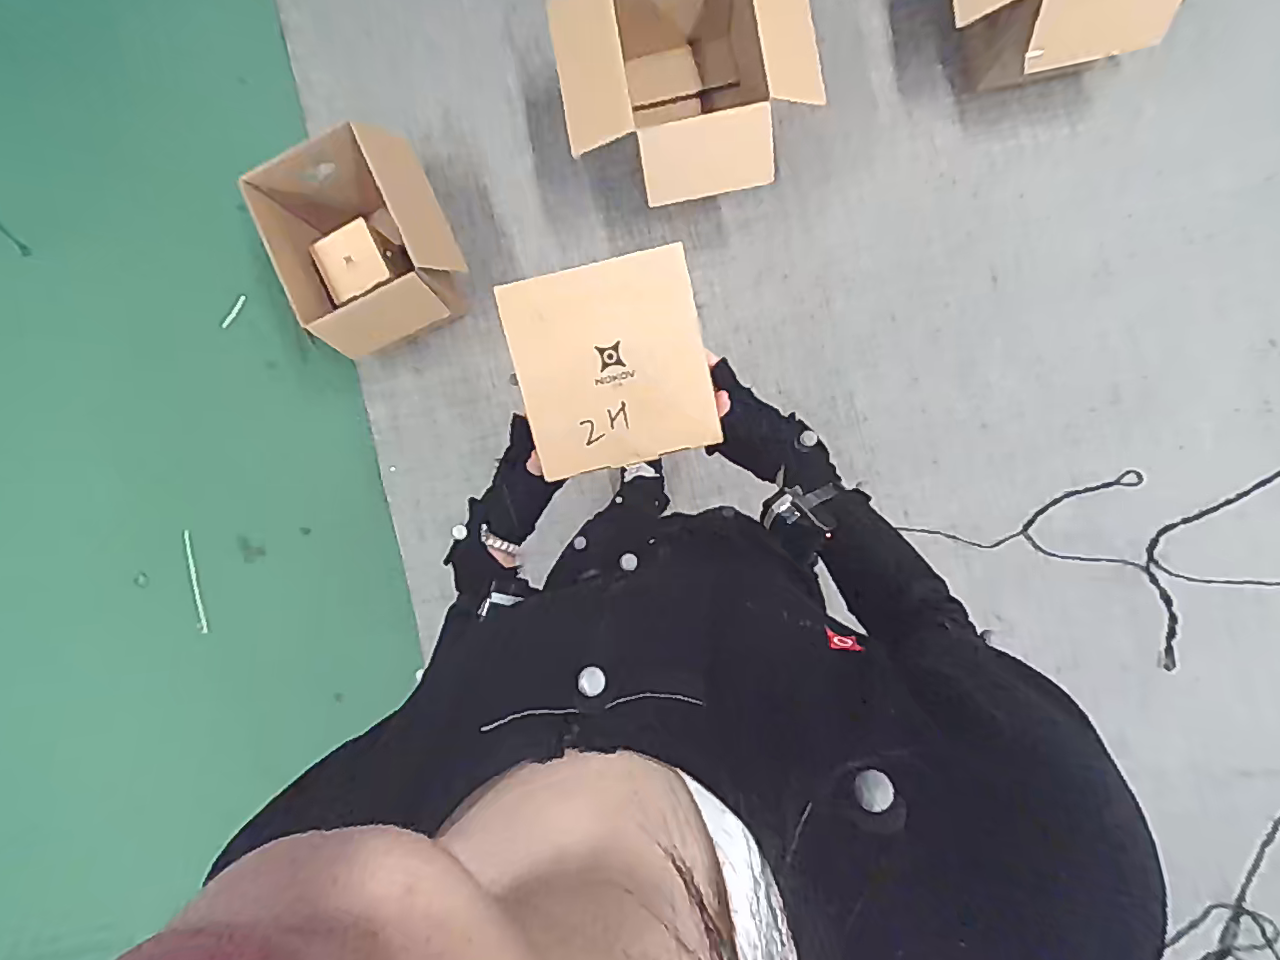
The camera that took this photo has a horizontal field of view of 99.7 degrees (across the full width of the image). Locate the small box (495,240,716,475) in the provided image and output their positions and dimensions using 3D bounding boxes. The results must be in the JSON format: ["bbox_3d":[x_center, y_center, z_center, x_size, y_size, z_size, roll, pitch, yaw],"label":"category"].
[{"bbox_3d":[-0.030,-0.115,0.547,0.168,0.176,0.179,-12,100,2],"label":"small box"}]
